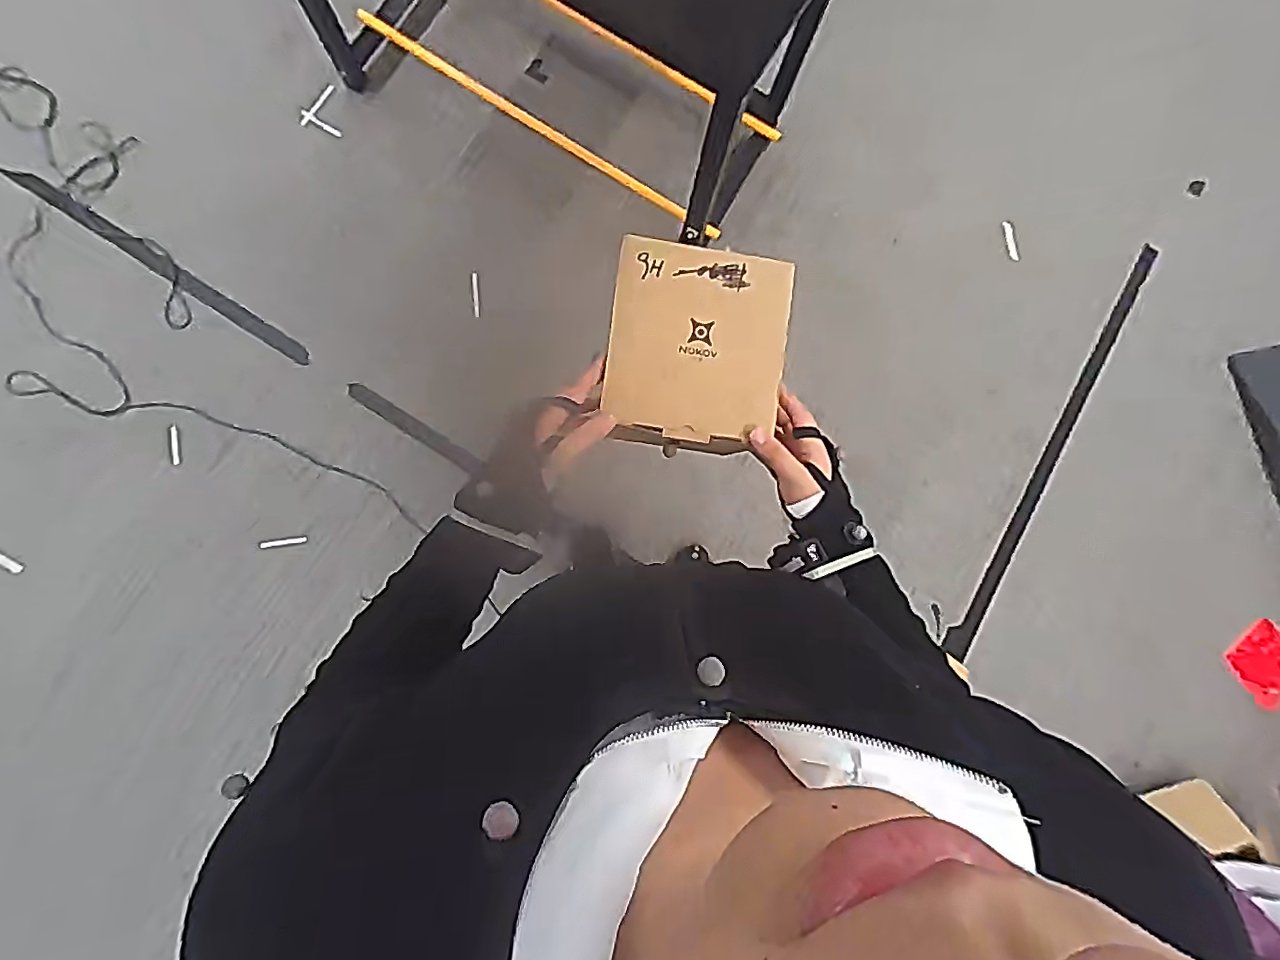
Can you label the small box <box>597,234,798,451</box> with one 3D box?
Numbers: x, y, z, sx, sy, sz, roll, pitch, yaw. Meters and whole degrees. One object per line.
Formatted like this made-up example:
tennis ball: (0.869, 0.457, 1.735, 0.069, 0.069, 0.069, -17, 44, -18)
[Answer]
small box: (0.047, -0.126, 0.569, 0.168, 0.176, 0.179, 7, 90, -5)
